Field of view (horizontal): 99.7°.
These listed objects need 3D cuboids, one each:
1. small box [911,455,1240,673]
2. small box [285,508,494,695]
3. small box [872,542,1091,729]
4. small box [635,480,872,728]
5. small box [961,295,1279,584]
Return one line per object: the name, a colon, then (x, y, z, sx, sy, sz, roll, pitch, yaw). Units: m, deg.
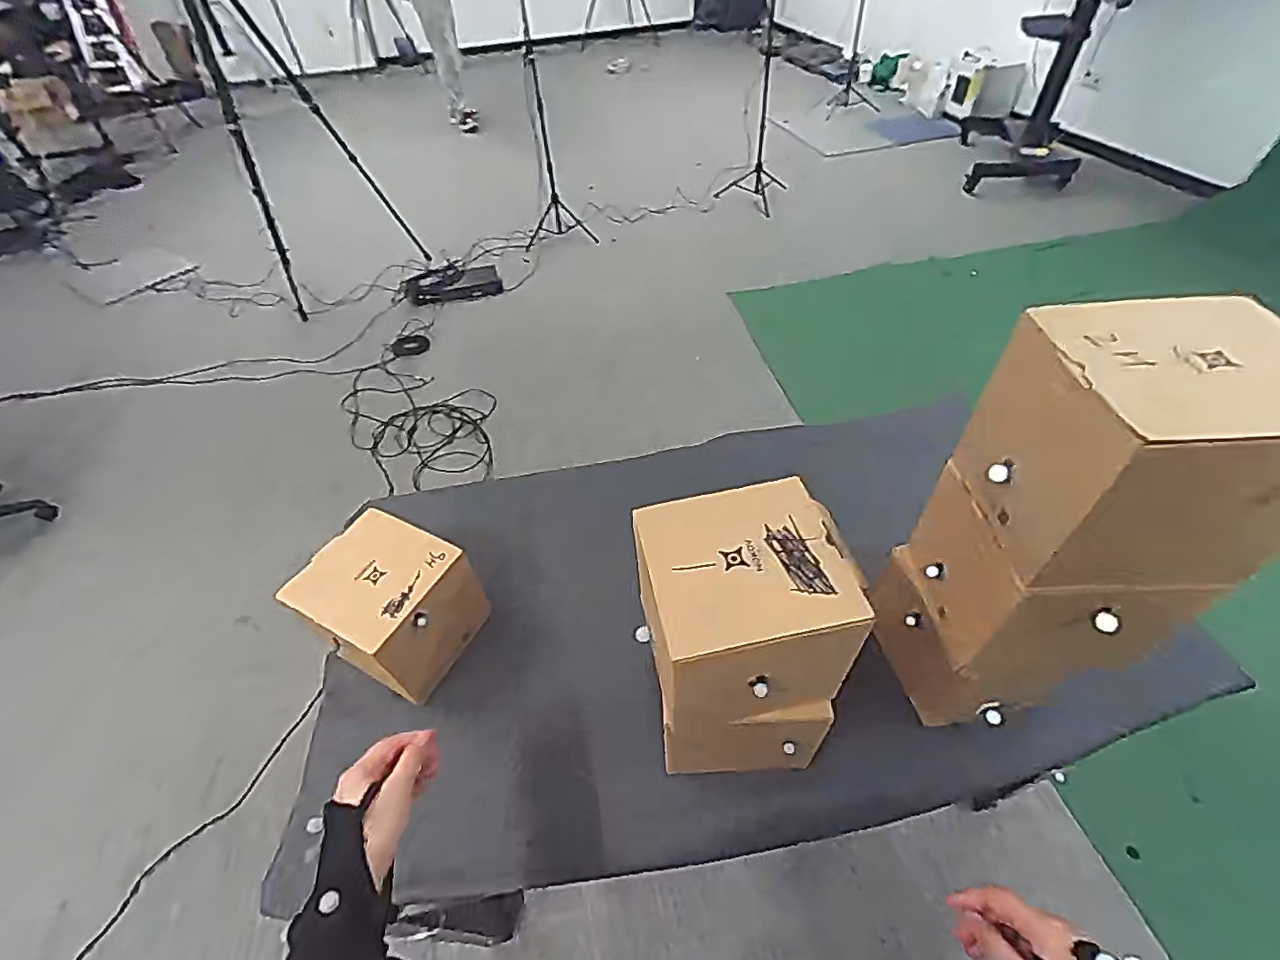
small box: (0.413, 0.086, 0.558, 0.179, 0.176, 0.168, -4, 47, 4)
small box: (-0.339, 0.174, 0.764, 0.179, 0.176, 0.168, 20, 53, 21)
small box: (0.422, 0.186, 0.686, 0.168, 0.176, 0.179, -11, 47, -4)
small box: (0.098, 0.127, 0.546, 0.179, 0.176, 0.168, -11, 47, -4)
small box: (0.403, -0.028, 0.439, 0.179, 0.176, 0.168, -2, 46, 5)
